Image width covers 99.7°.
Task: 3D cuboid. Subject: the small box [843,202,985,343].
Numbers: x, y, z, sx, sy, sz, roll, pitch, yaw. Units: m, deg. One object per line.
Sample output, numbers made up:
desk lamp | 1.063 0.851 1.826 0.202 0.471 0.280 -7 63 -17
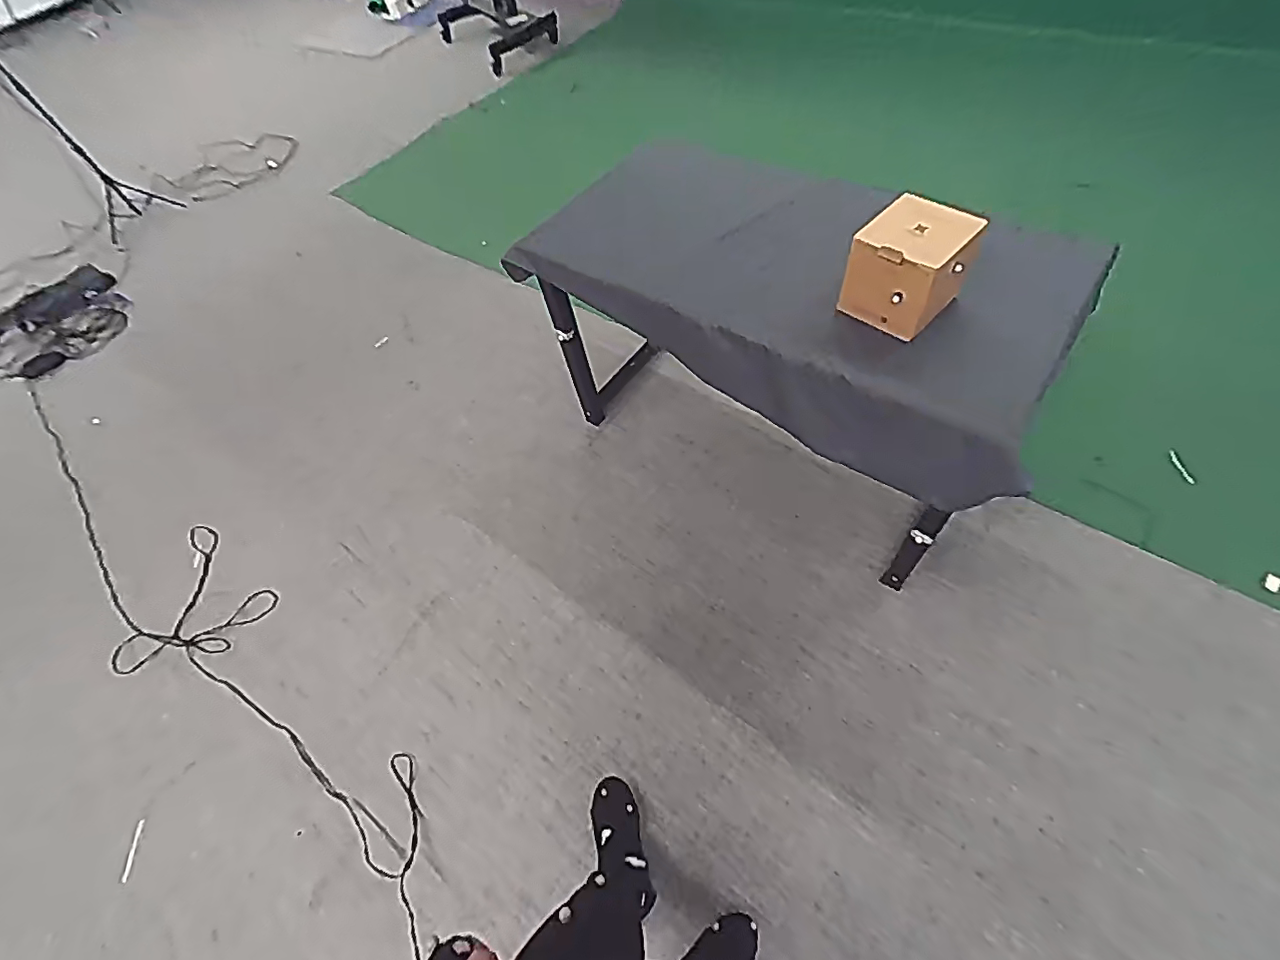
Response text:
small box | 0.521 -0.401 1.056 0.179 0.176 0.168 -40 61 -19
